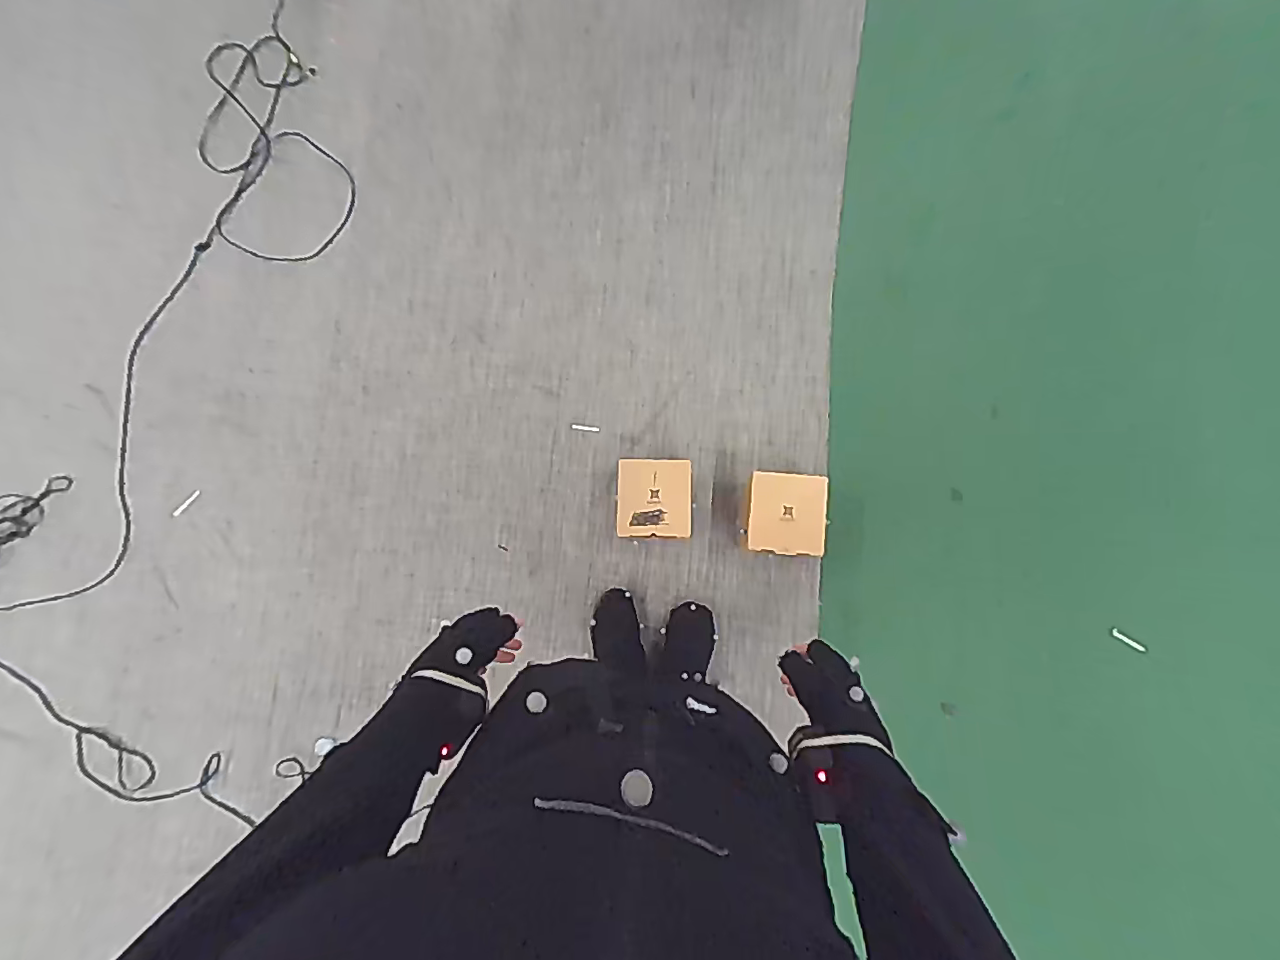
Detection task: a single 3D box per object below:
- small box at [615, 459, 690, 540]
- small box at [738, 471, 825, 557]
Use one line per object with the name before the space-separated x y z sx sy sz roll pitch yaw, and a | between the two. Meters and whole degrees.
small box | 0.034 0.052 1.282 0.168 0.176 0.179 1 81 3
small box | 0.324 0.084 1.260 0.168 0.176 0.179 5 82 5
